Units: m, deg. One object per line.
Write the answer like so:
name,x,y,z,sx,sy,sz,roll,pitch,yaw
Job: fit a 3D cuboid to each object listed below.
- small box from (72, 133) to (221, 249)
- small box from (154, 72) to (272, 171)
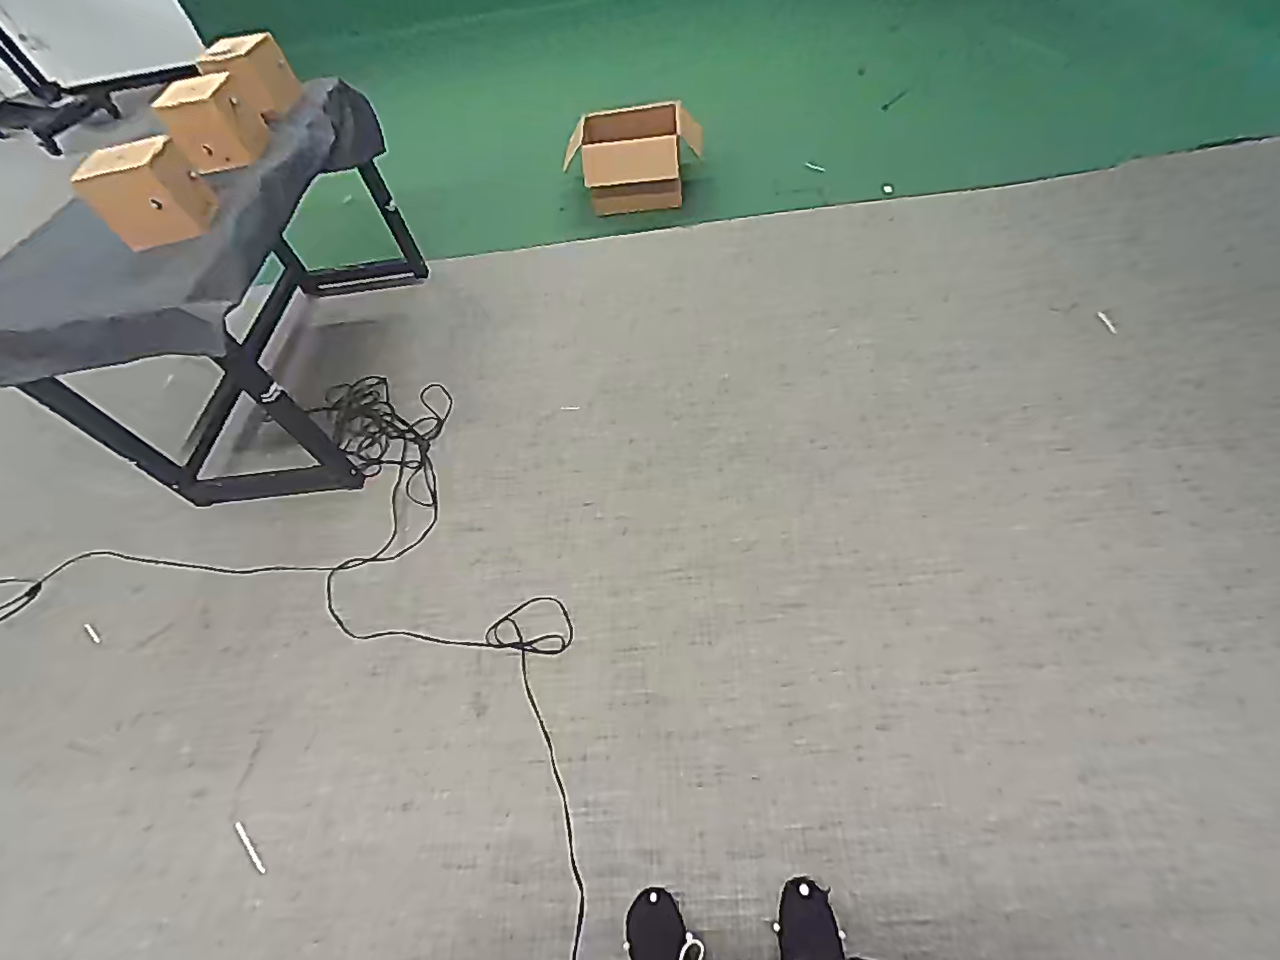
small box,-1.146,-0.678,1.277,0.179,0.176,0.168,-15,53,-1
small box,-1.161,-0.985,1.491,0.168,0.176,0.179,-8,56,3
